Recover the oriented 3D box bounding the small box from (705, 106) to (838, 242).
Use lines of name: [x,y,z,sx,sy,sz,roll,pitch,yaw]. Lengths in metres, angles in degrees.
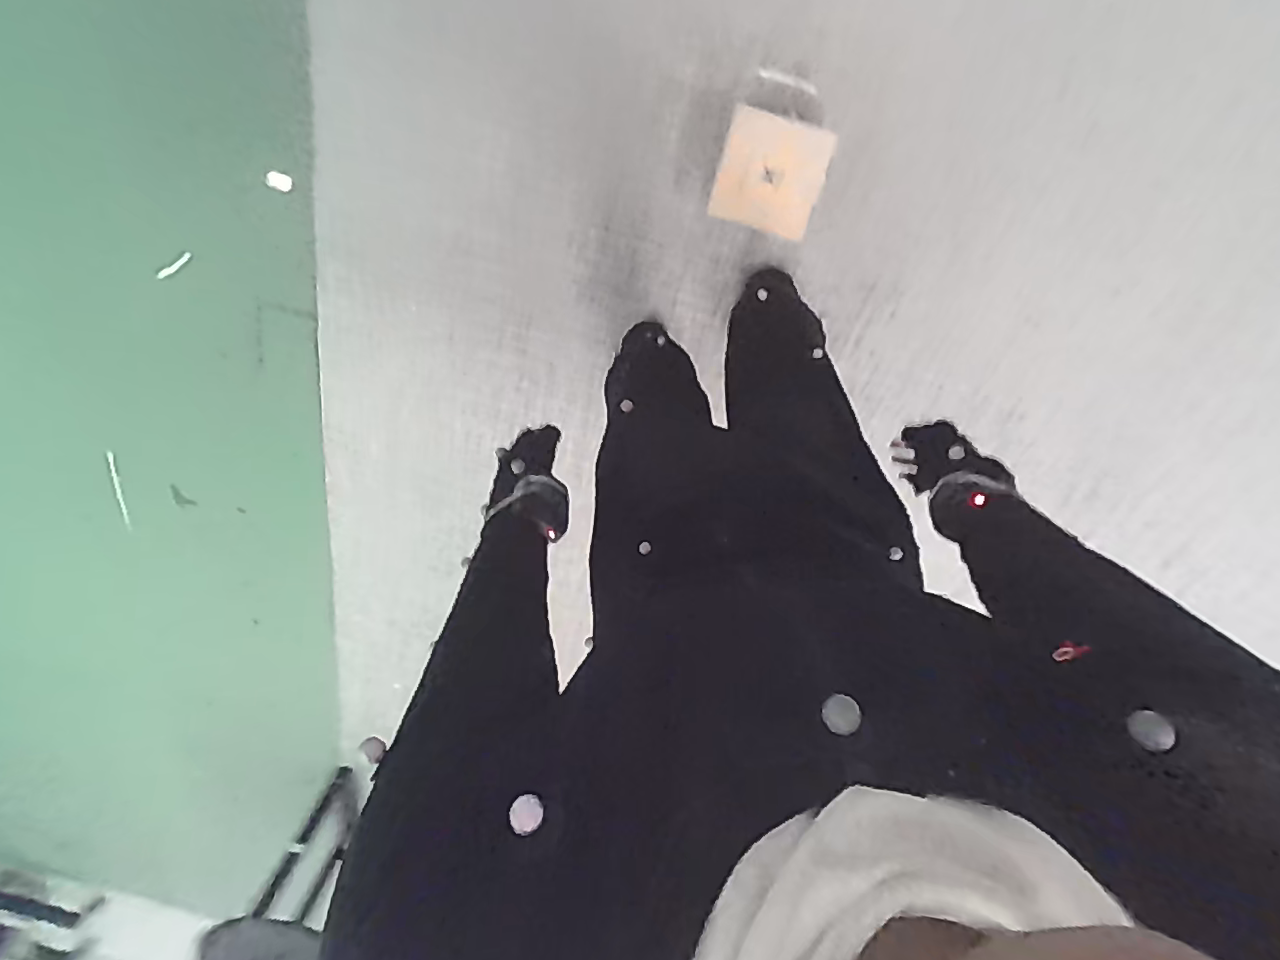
small box: [0.227,-0.547,0.972,0.179,0.176,0.168,17,121,0]
